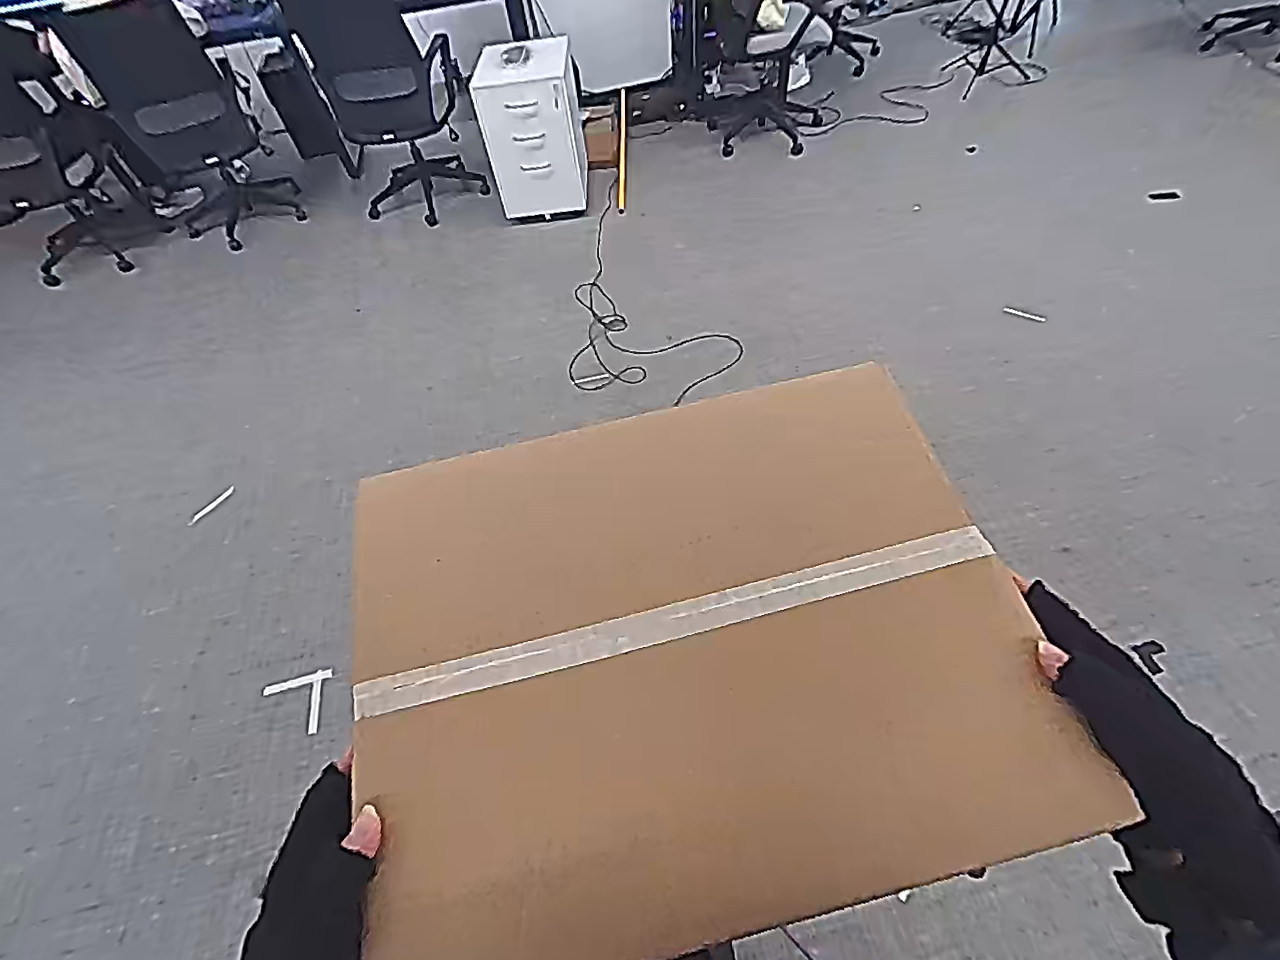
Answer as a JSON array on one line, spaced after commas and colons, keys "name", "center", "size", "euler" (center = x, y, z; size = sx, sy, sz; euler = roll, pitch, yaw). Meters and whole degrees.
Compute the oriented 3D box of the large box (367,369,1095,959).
[{"name": "large box", "center": [0.035, 0.157, 0.481], "size": [0.408, 0.320, 0.320], "euler": [-14, 62, -3]}]
